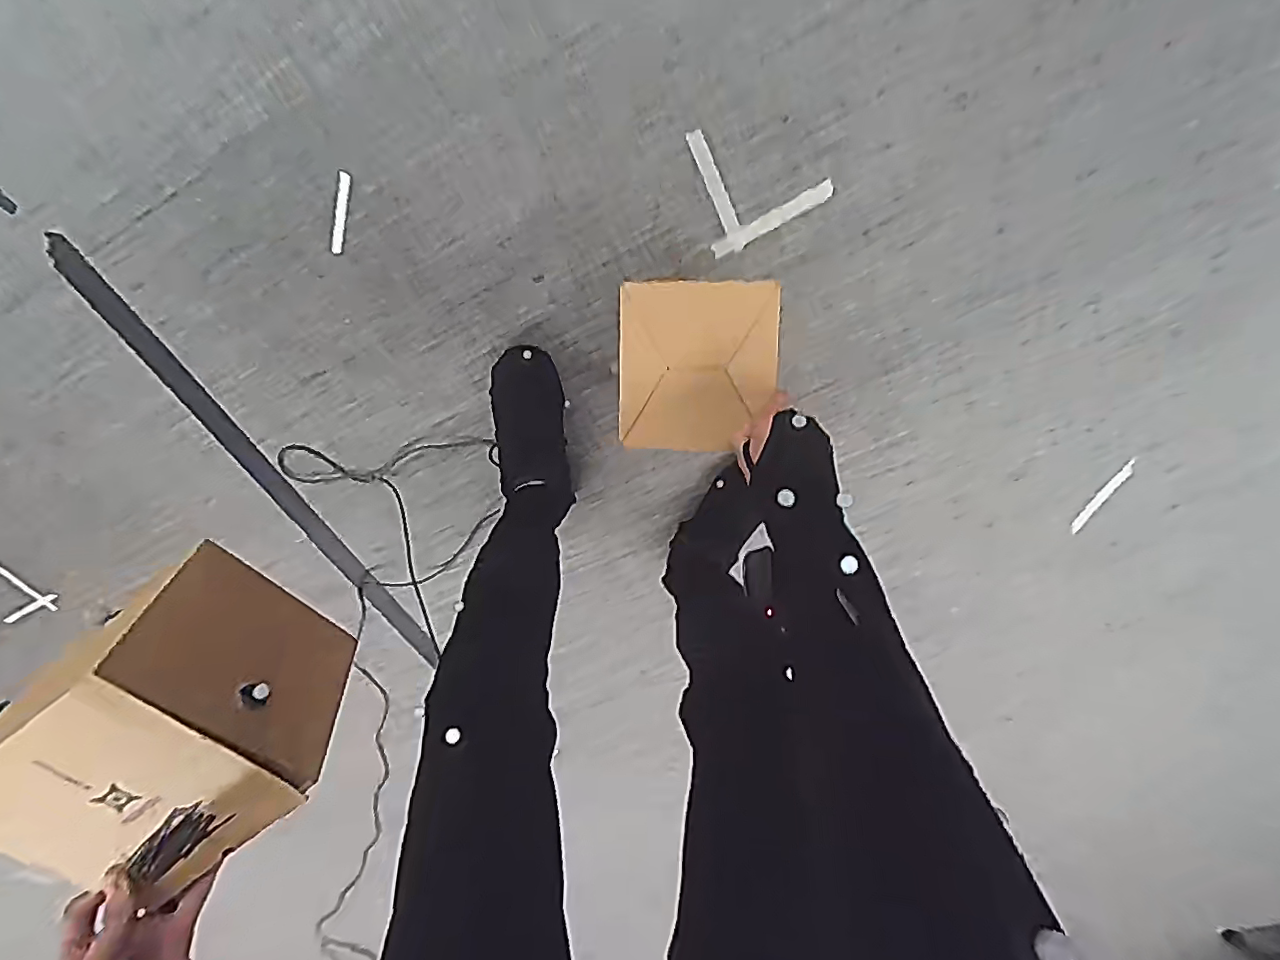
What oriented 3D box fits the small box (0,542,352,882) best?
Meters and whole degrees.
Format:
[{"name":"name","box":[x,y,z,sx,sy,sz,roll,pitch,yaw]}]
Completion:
[{"name":"small box","box":[-0.384,0.187,0.462,0.168,0.176,0.179,-36,118,3]}]

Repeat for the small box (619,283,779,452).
[{"name":"small box","box":[0.072,-0.132,0.643,0.168,0.176,0.179,2,101,10]}]
